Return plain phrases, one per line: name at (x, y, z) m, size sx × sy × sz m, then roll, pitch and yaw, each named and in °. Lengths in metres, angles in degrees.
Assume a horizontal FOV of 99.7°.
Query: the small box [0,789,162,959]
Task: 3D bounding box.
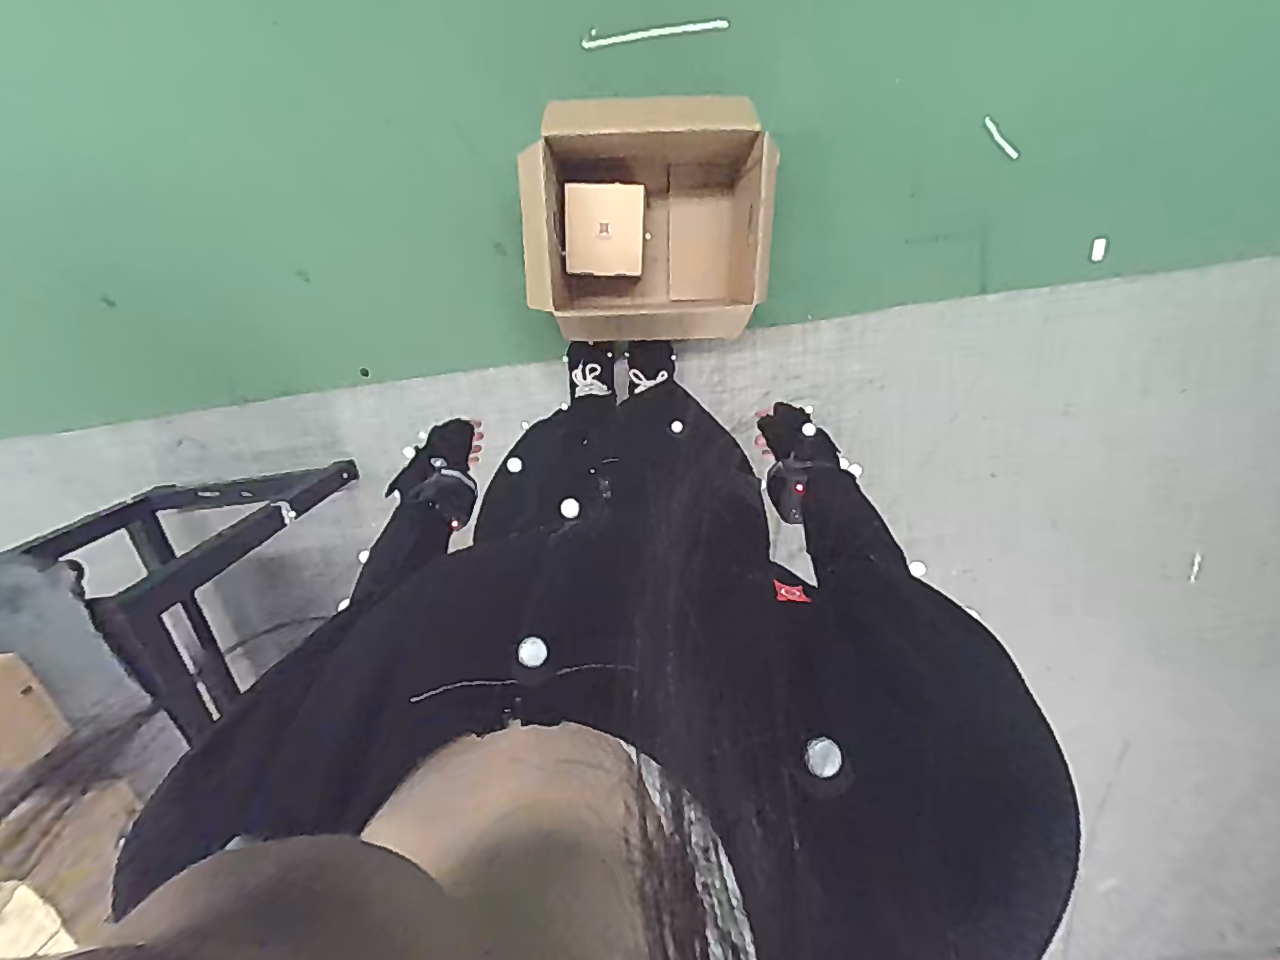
small box at (-0.945, 0.634, 0.870) m, size 0.179 × 0.176 × 0.168 m, roll -9°, pitch 110°, yaw 3°
